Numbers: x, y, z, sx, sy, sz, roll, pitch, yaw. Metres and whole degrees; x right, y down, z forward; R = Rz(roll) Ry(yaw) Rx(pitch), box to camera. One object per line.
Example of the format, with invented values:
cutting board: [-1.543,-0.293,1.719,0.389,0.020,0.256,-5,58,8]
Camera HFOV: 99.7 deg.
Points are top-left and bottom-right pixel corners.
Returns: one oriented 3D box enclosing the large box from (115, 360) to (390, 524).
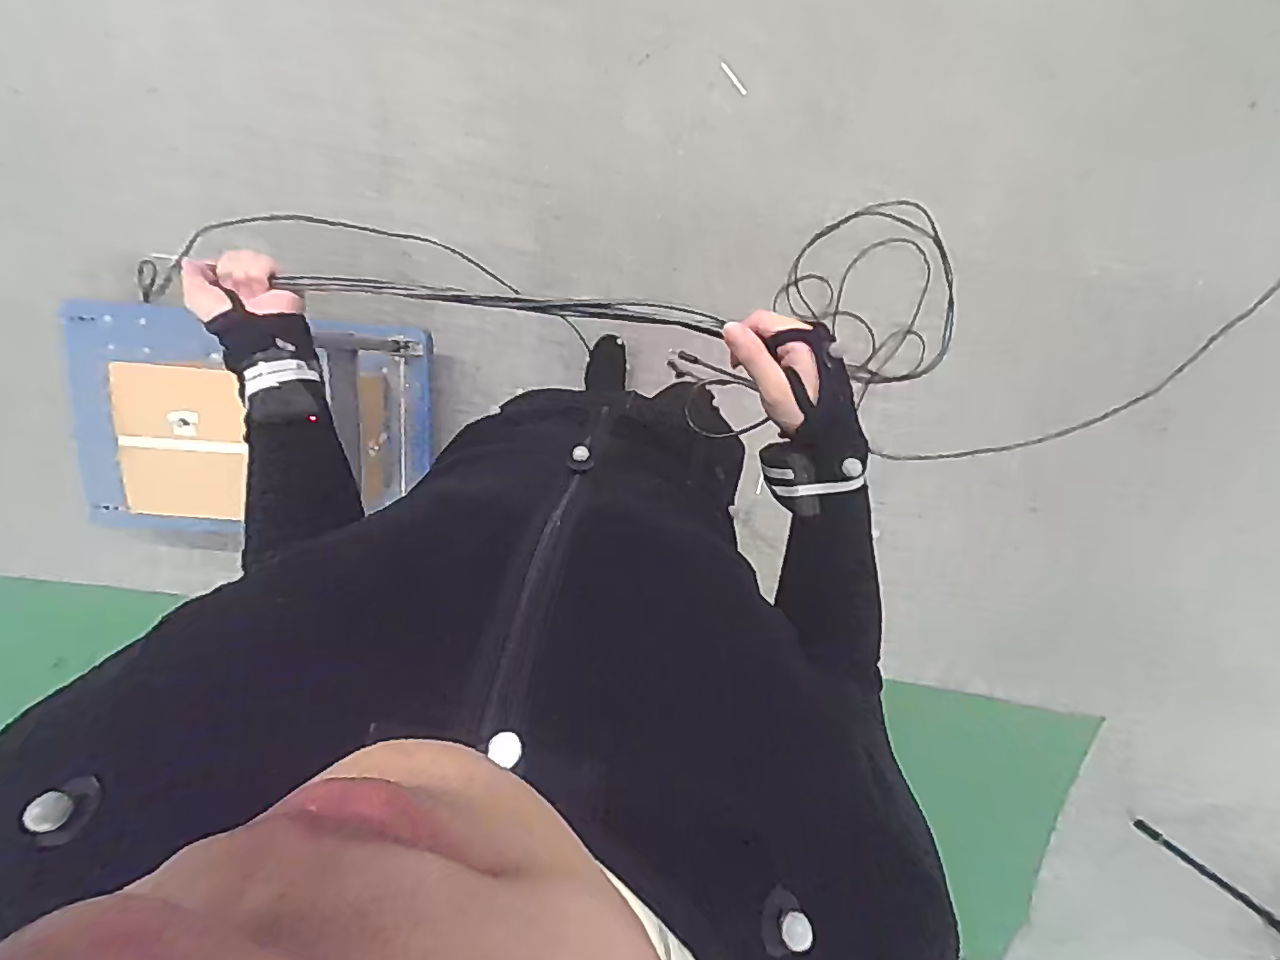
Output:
large box: [-0.840,-0.104,1.237,0.408,0.320,0.320,5,102,-2]
